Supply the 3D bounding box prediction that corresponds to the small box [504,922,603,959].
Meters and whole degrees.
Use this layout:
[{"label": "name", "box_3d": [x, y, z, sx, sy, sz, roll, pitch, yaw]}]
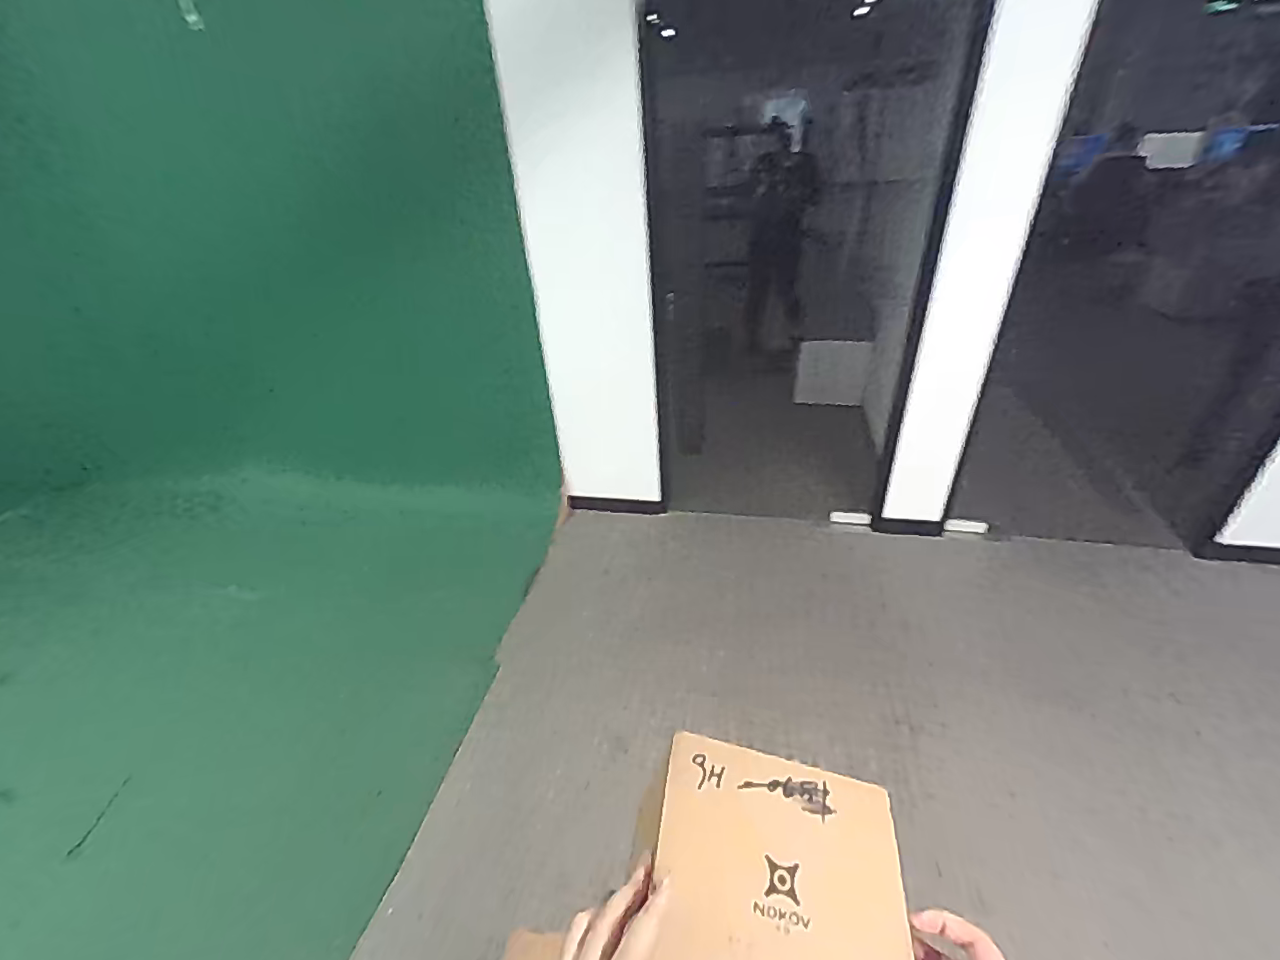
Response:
[{"label": "small box", "box_3d": [-0.161, 0.935, 0.952, 0.168, 0.176, 0.179, 2, 31, 12]}]
